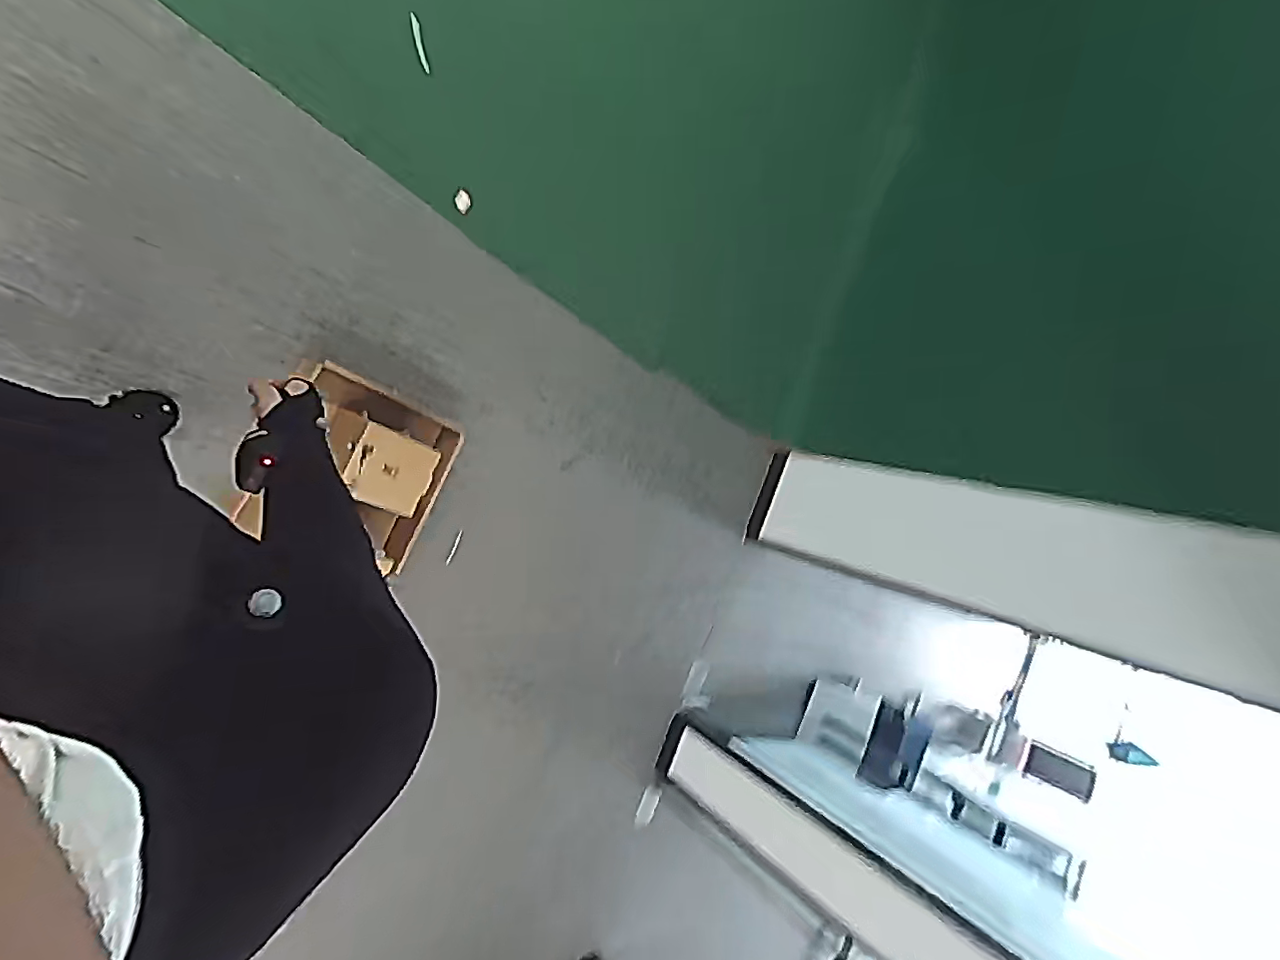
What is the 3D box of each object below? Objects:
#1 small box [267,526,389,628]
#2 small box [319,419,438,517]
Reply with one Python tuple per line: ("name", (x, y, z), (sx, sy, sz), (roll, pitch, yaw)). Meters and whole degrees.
("small box", (-0.722, 0.217, 1.244), (0.179, 0.176, 0.168), (33, 79, -41))
("small box", (-0.615, -0.032, 1.268), (0.179, 0.176, 0.168), (29, 82, -41))
